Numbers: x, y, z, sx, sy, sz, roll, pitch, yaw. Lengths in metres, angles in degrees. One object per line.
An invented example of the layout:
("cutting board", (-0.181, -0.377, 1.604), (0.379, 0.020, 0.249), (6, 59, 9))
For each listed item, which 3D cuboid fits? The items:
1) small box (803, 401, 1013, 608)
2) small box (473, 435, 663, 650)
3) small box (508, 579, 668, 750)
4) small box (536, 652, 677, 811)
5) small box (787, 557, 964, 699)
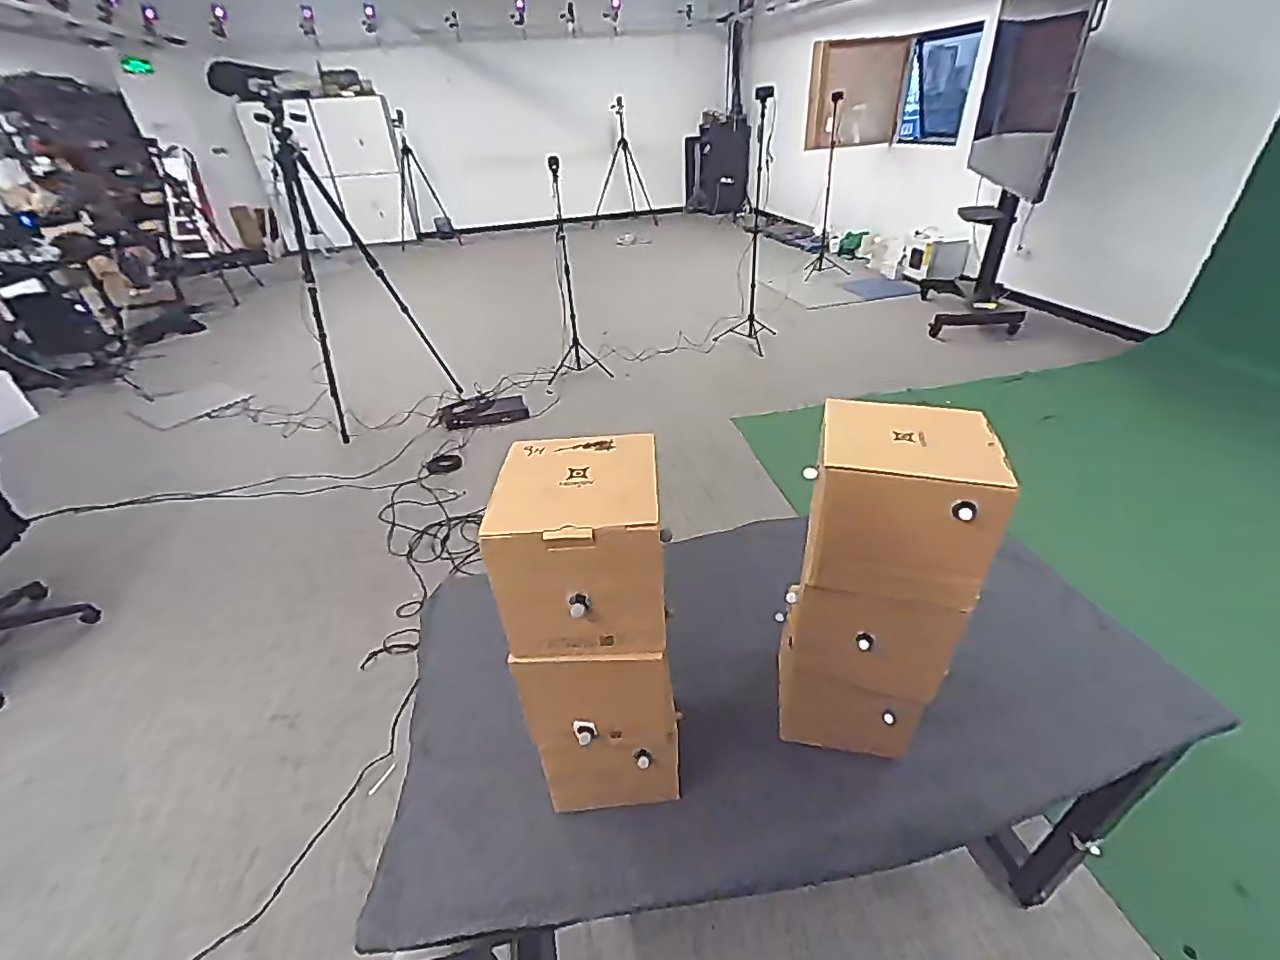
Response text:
("small box", (0.287, 0.024, 0.623), (0.179, 0.176, 0.168), (7, 35, 15))
("small box", (-0.063, 0.070, 0.592), (0.168, 0.176, 0.179), (-3, 34, 2))
("small box", (-0.053, 0.210, 0.678), (0.168, 0.176, 0.179), (-3, 35, 3))
("small box", (-0.043, 0.342, 0.771), (0.179, 0.176, 0.168), (-5, 33, -2))
("small box", (0.299, 0.159, 0.713), (0.179, 0.176, 0.168), (8, 35, 17))
